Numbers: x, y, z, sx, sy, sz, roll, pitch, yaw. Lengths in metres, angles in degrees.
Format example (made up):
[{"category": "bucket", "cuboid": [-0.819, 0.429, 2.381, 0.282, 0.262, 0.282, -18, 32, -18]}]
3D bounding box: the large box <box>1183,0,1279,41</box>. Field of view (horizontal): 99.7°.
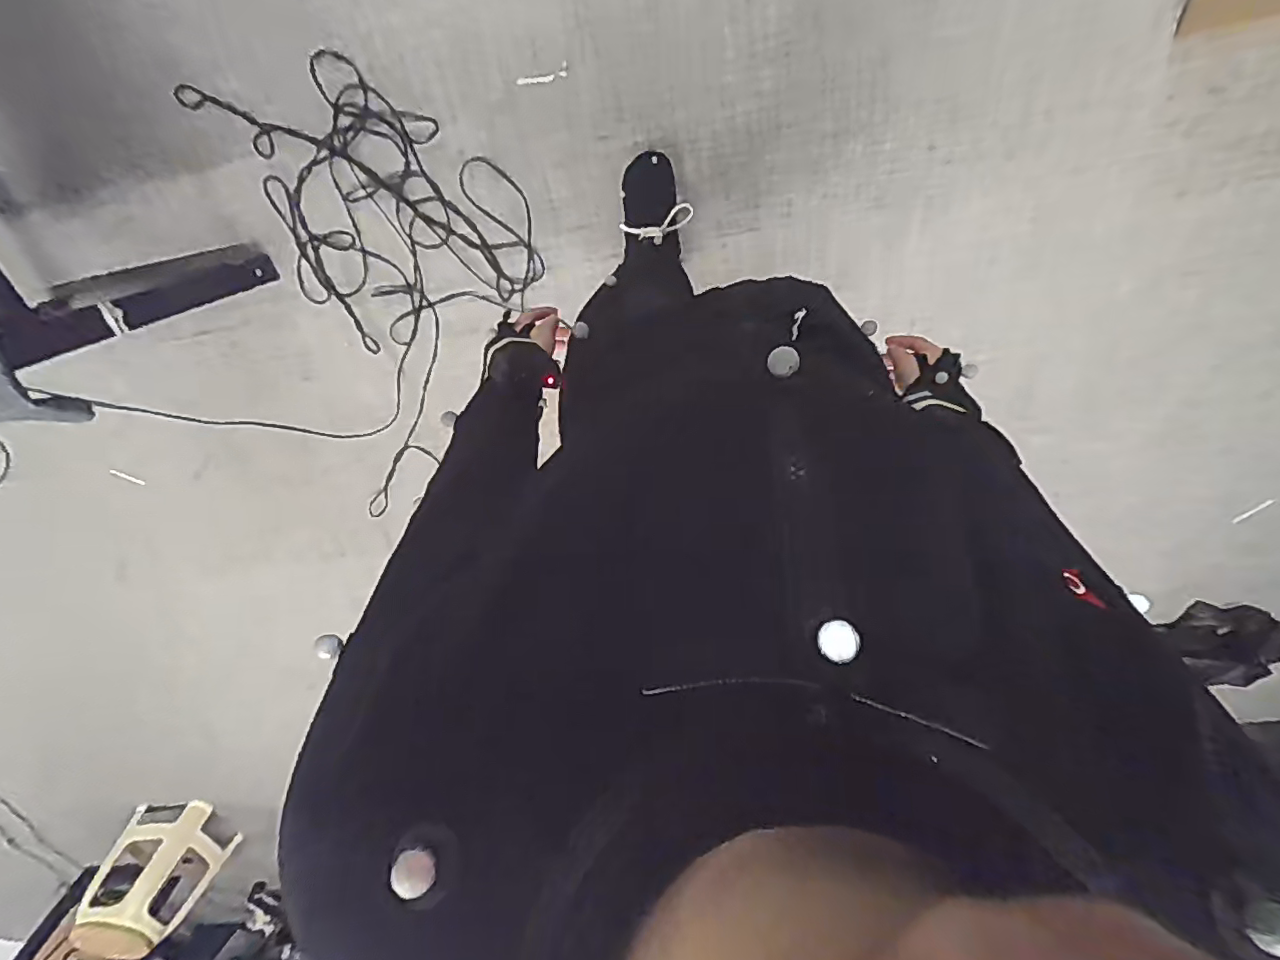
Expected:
[{"category": "large box", "cuboid": [1.119, -0.901, 0.753, 0.320, 0.320, 0.408, -2, 122, 4]}]
